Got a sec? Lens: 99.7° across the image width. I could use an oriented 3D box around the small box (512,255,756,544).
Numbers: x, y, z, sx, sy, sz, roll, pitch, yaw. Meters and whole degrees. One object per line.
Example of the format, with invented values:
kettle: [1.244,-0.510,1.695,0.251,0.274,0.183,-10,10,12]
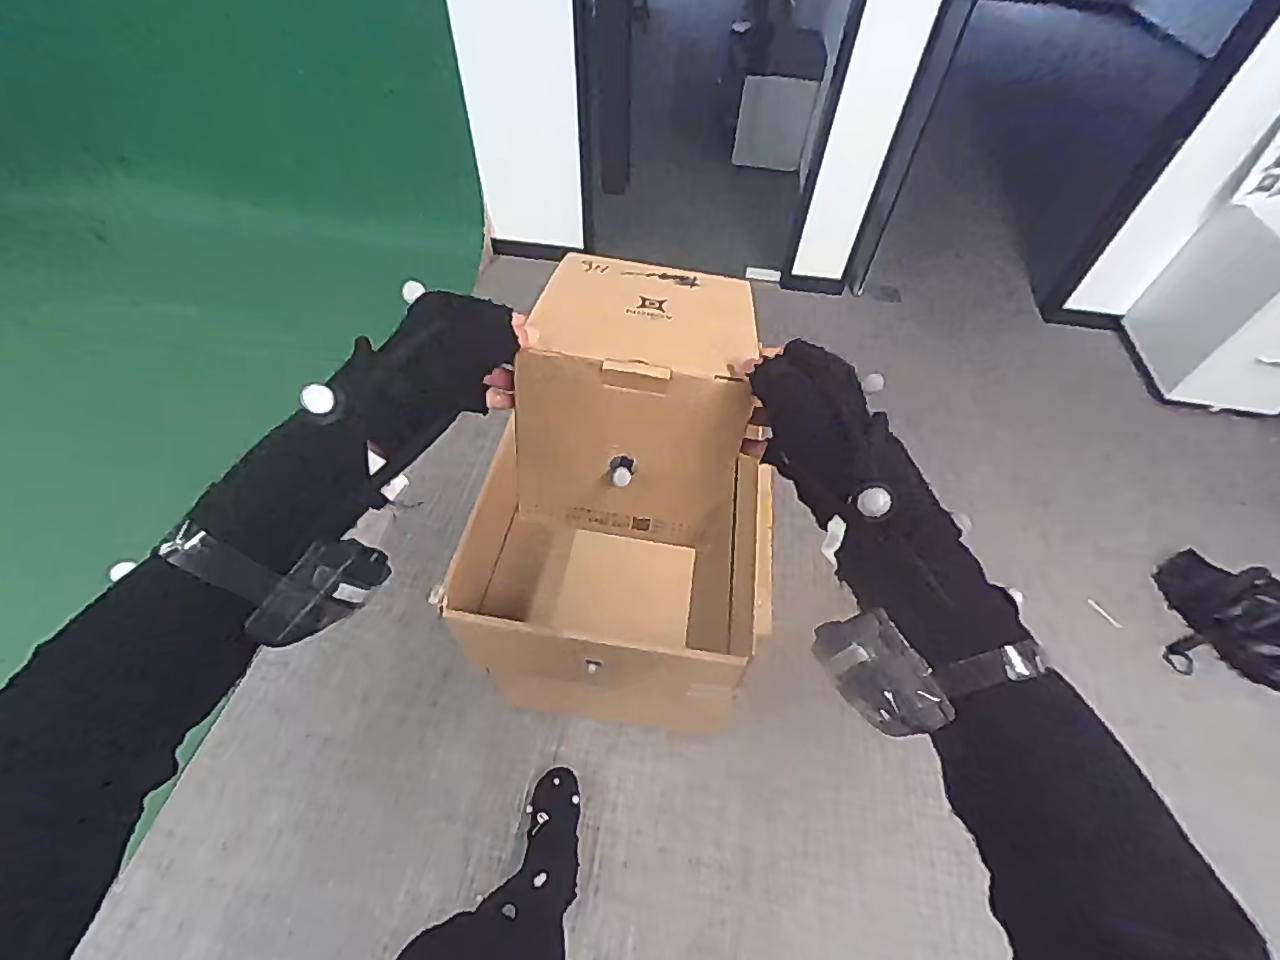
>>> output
small box: [-0.003,-0.068,0.467,0.168,0.176,0.179,9,43,0]
